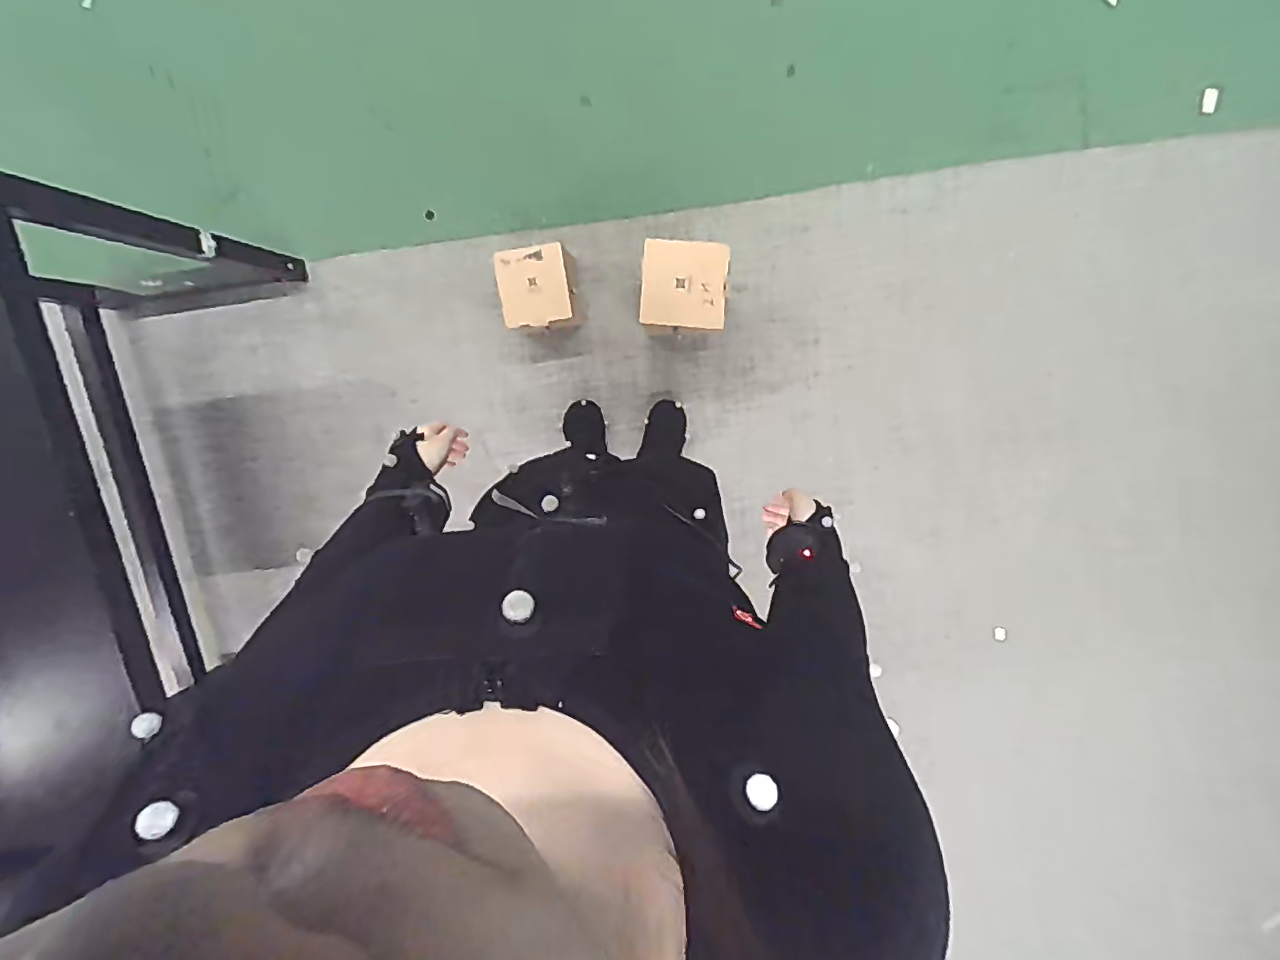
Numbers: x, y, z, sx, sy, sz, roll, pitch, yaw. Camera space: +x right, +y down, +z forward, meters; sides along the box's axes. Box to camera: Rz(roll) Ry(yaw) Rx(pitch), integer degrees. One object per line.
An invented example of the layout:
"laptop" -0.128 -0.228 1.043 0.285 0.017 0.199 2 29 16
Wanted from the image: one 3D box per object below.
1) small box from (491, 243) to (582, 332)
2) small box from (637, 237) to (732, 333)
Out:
"small box" -0.245 -0.463 1.327 0.168 0.176 0.179 -8 101 5
"small box" 0.092 -0.407 1.152 0.179 0.176 0.168 5 103 2
